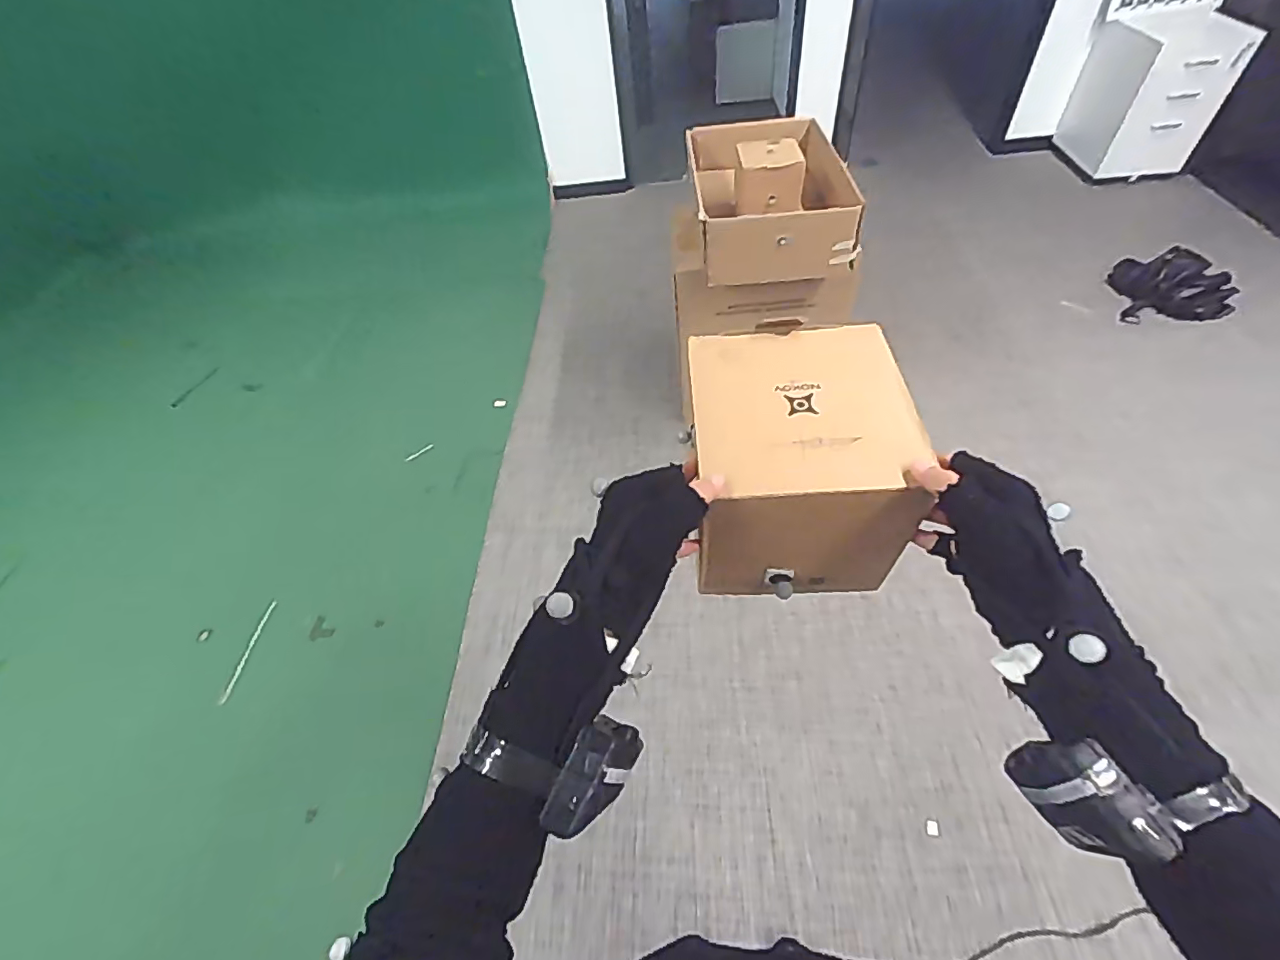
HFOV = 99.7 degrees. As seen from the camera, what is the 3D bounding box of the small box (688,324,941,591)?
[{"bbox_3d":[0.130,-0.015,0.486,0.168,0.176,0.179,-3,55,3],"label":"small box"}]
